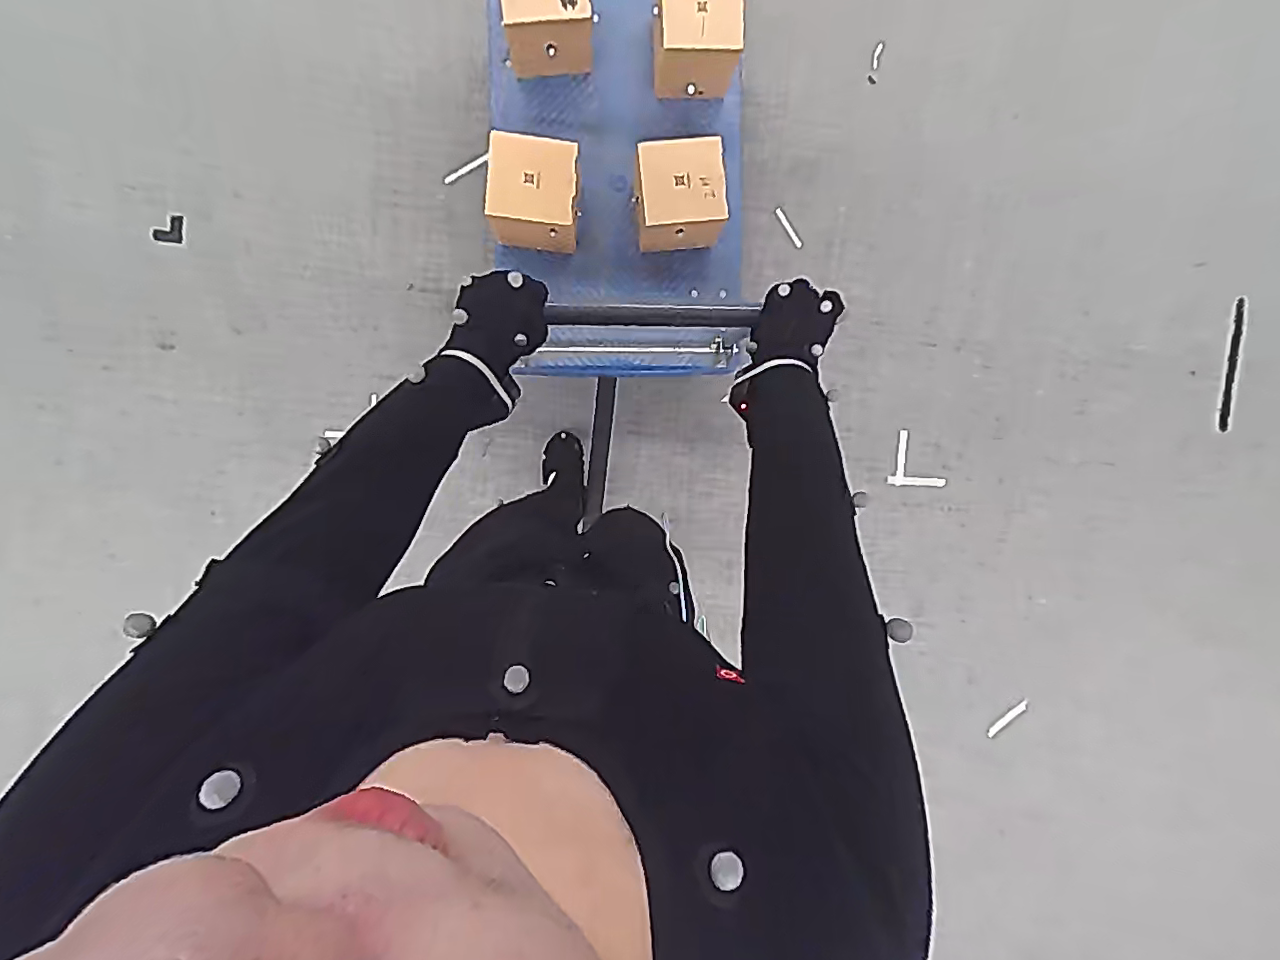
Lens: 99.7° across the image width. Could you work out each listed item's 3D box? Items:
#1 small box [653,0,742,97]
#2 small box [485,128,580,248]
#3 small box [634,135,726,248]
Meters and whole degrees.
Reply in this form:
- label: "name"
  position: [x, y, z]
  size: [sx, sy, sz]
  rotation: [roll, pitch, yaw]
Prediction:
- label: "small box"
  position: [0.118, -0.967, 1.161]
  size: [0.168, 0.176, 0.179]
  rotation: [-2, 96, -4]
- label: "small box"
  position: [-0.225, -0.618, 1.165]
  size: [0.179, 0.176, 0.168]
  rotation: [5, 94, -7]
- label: "small box"
  position: [0.081, -0.625, 1.188]
  size: [0.179, 0.176, 0.168]
  rotation: [-6, 96, -4]
